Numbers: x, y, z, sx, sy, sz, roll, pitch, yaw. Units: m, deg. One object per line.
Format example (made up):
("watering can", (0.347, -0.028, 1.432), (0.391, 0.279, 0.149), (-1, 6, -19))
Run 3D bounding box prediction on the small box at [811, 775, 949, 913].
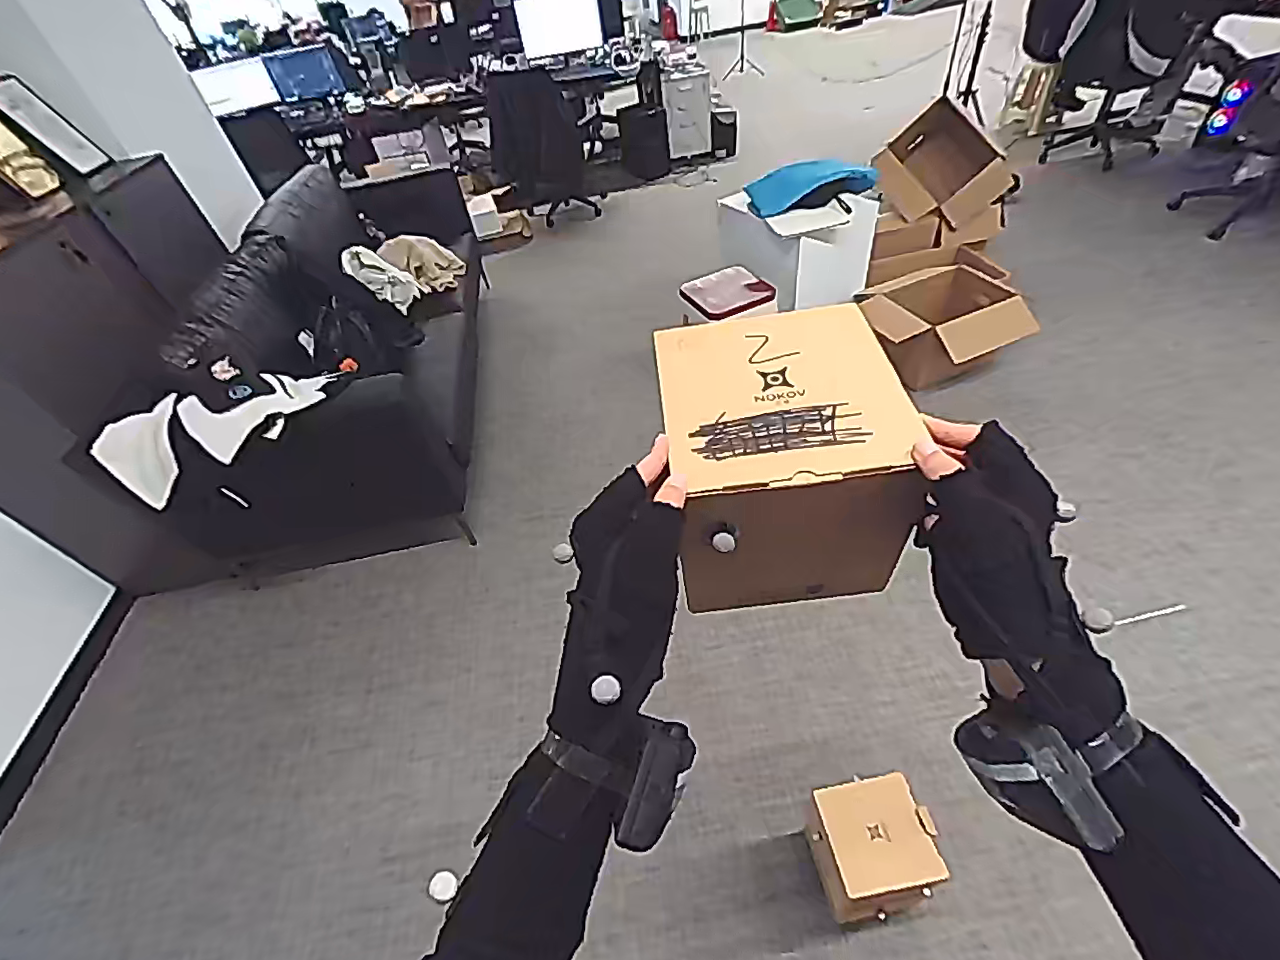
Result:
("small box", (0.428, 0.676, 1.002), (0.179, 0.176, 0.168), (-11, 45, -1))
